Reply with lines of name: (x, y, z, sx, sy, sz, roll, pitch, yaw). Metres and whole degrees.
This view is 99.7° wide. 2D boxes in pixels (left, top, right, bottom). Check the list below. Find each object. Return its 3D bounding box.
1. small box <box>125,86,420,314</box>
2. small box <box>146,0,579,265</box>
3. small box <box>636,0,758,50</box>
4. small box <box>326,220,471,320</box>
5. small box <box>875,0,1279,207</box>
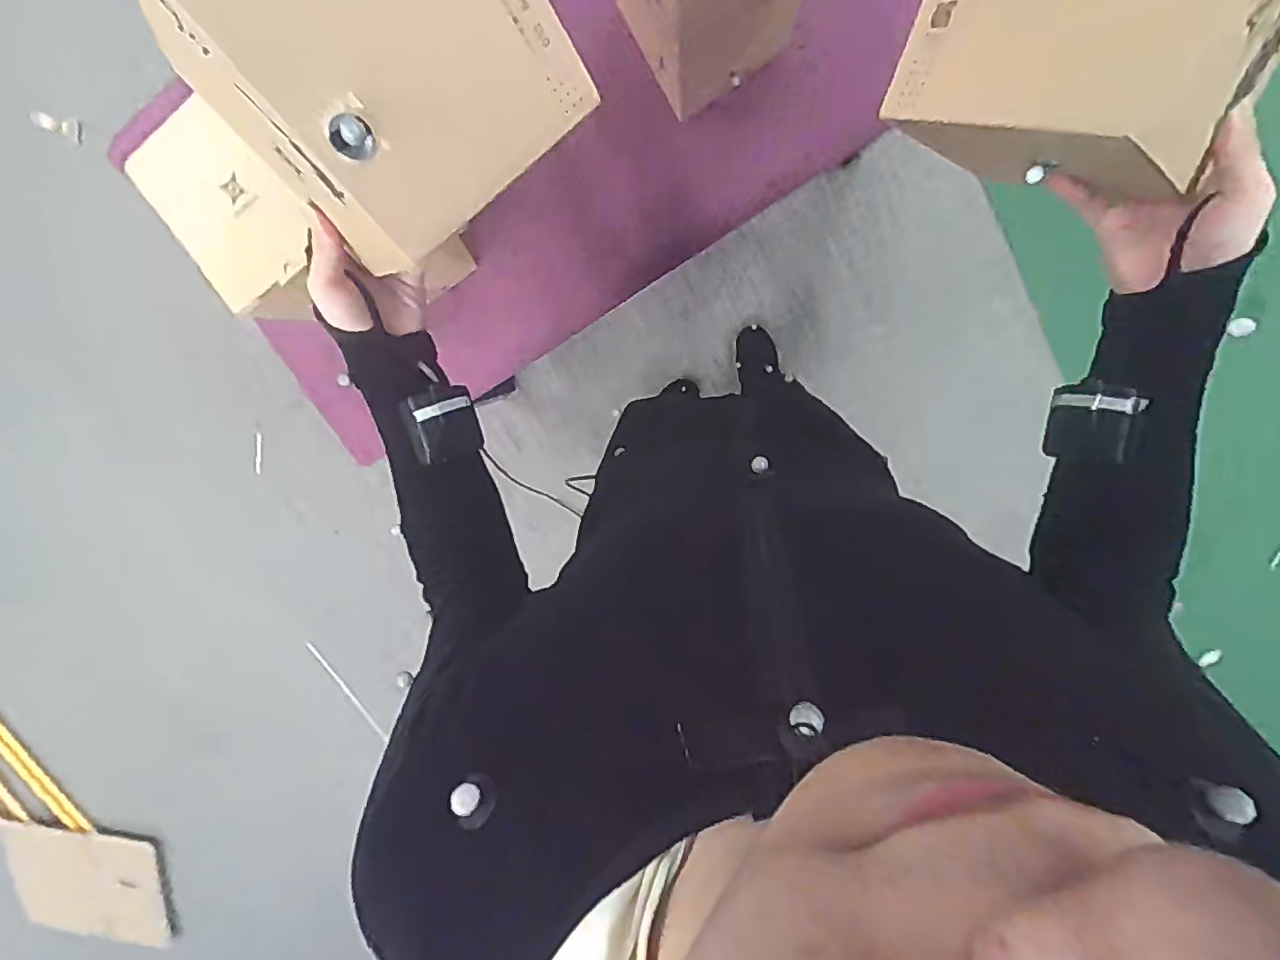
small box: (-0.394, -0.306, 0.614, 0.168, 0.176, 0.179, -32, 100, 12)
small box: (-0.170, -0.266, 0.356, 0.176, 0.179, 0.168, -47, 125, -11)
small box: (0.055, -0.552, 0.501, 0.168, 0.176, 0.179, -31, 100, 13)
small box: (-0.379, -0.345, 0.770, 0.168, 0.176, 0.179, -30, 100, 13)
small box: (0.303, -0.306, 0.365, 0.179, 0.176, 0.168, -4, 123, -35)
